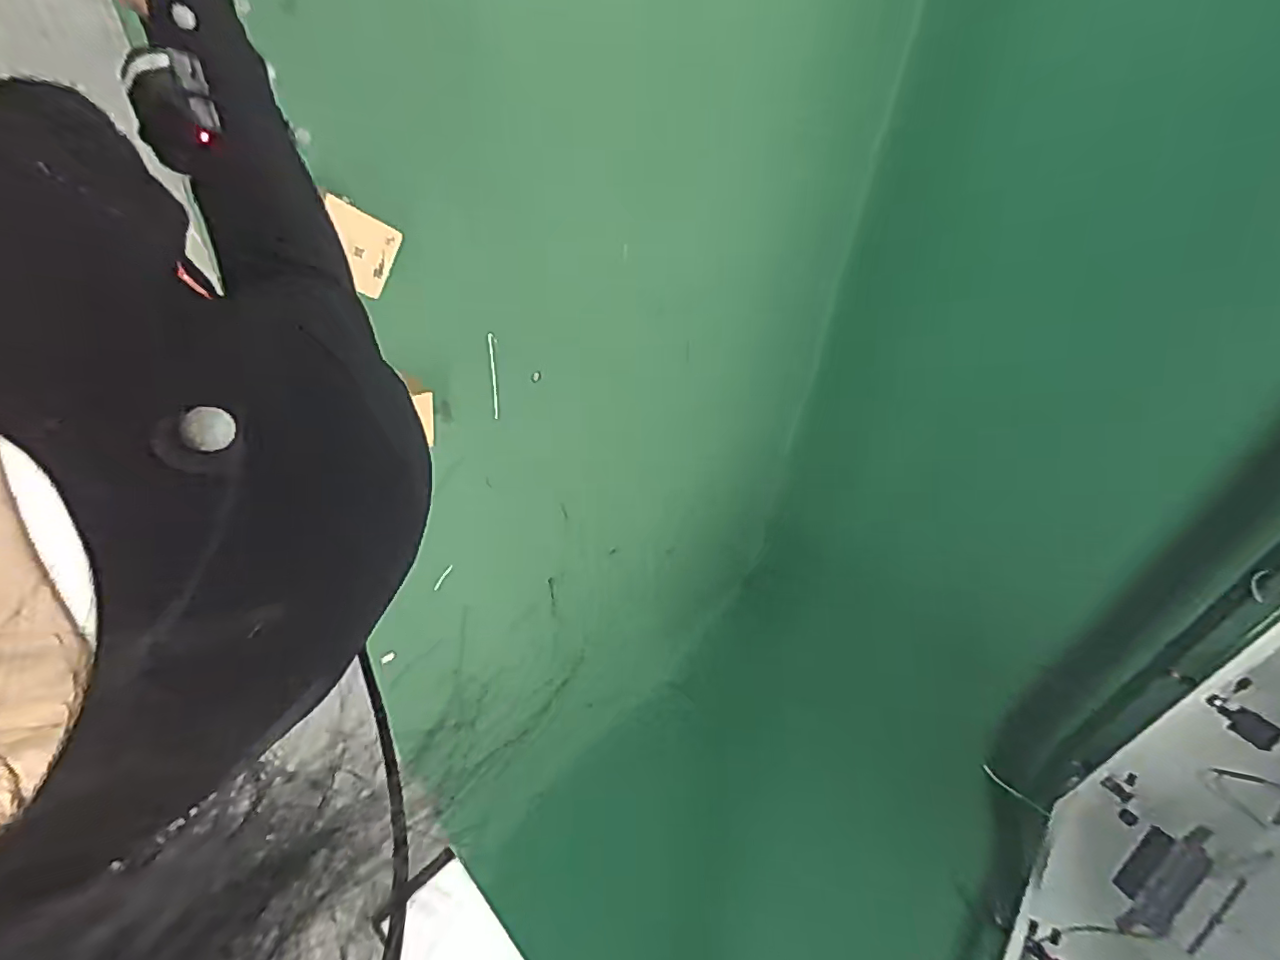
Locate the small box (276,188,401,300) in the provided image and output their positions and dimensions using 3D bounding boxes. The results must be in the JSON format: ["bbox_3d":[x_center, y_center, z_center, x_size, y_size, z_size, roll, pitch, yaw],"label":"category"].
[{"bbox_3d":[-0.690,-0.539,1.230,0.179,0.176,0.168,14,106,-56],"label":"small box"}]

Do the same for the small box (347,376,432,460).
[{"bbox_3d":[-0.706,-0.184,1.523,0.168,0.176,0.179,-20,135,-43],"label":"small box"}]
